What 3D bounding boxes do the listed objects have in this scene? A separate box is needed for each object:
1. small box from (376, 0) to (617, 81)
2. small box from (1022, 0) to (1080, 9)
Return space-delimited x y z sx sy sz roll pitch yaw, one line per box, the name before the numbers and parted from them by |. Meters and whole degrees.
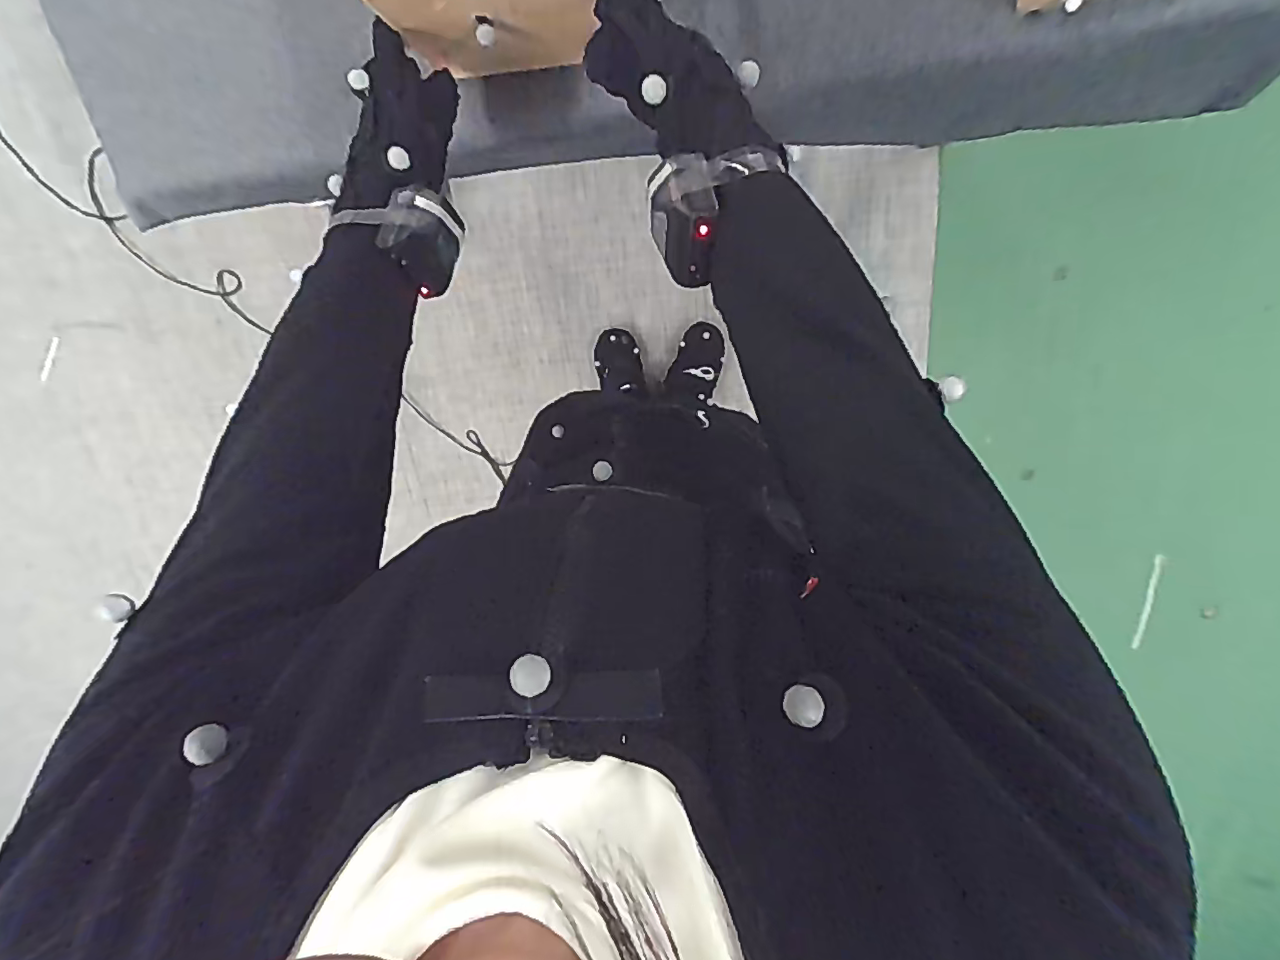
small box | -0.118 -0.454 0.436 0.179 0.176 0.168 -4 108 4
small box | 0.404 -0.496 0.400 0.168 0.176 0.179 -10 108 6
